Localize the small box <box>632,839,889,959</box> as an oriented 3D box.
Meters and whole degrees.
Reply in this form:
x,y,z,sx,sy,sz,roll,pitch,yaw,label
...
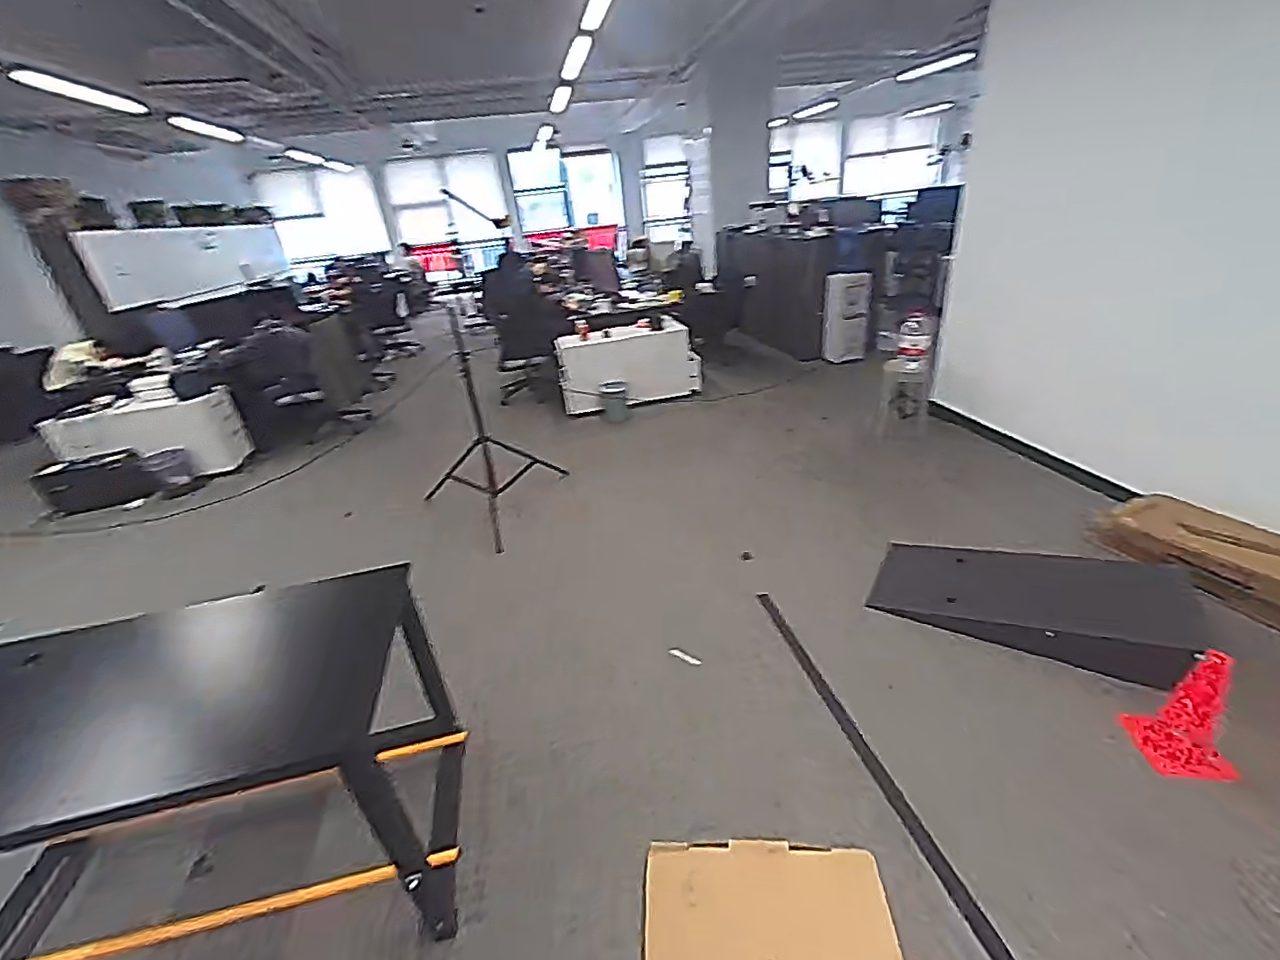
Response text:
x,y,z,sx,sy,sz,roll,pitch,yaw,label
0.076,0.382,0.374,0.168,0.176,0.179,1,38,0,small box
